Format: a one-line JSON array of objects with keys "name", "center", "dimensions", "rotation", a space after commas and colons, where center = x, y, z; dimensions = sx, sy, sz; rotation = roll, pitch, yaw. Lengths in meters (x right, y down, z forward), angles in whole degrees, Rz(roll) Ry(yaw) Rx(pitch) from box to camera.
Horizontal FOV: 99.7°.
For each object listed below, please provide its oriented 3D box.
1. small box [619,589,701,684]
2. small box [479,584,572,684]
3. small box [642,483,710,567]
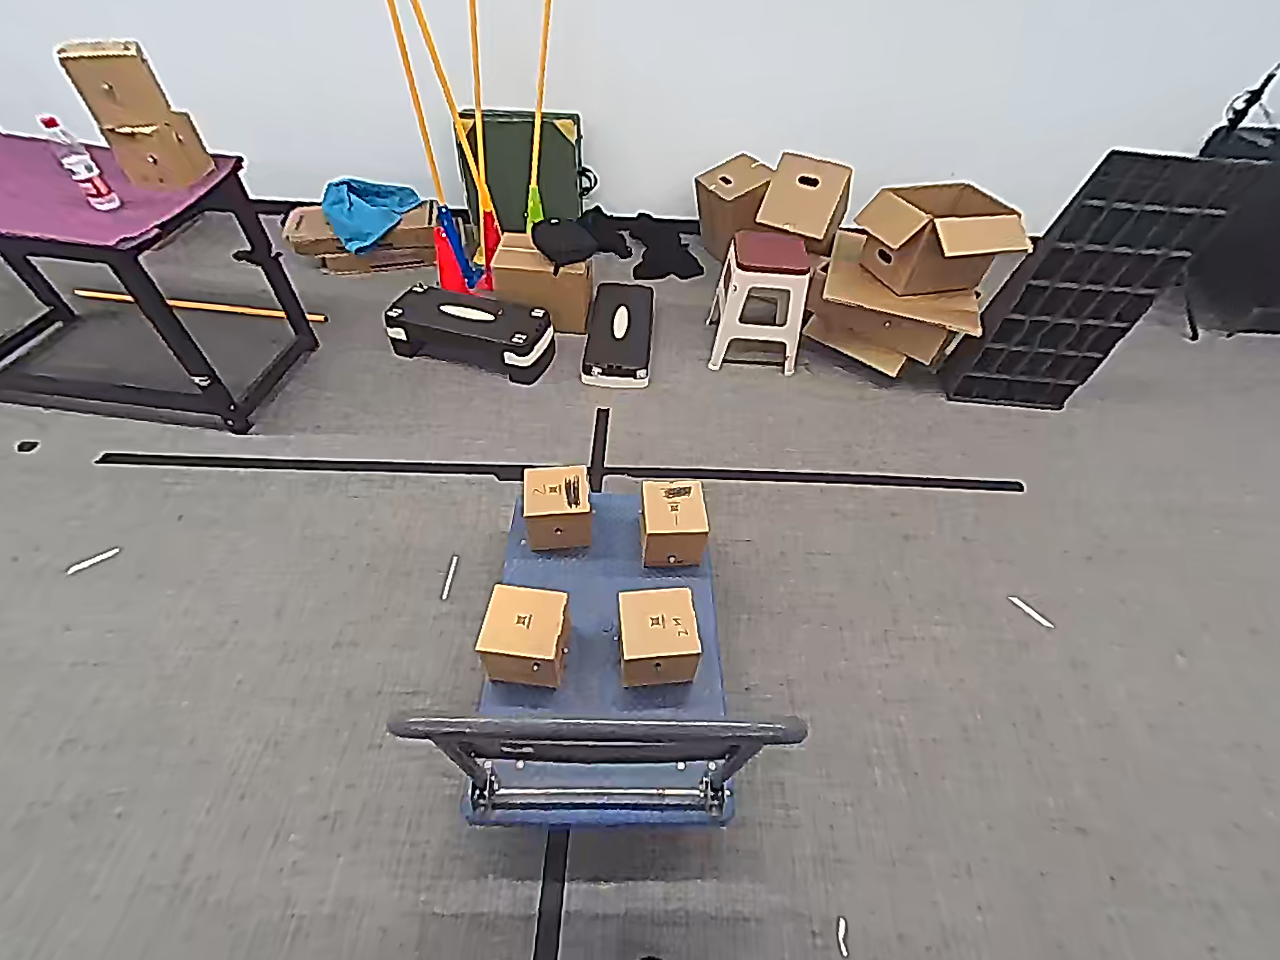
[{"name": "small box", "center": [0.041, 0.379, 1.298], "dimensions": [0.179, 0.176, 0.168], "rotation": [-2, 50, -6]}, {"name": "small box", "center": [-0.264, 0.370, 1.286], "dimensions": [0.179, 0.176, 0.168], "rotation": [8, 49, 0]}, {"name": "small box", "center": [0.094, 0.126, 1.516], "dimensions": [0.168, 0.176, 0.179], "rotation": [-1, 51, -4]}]
